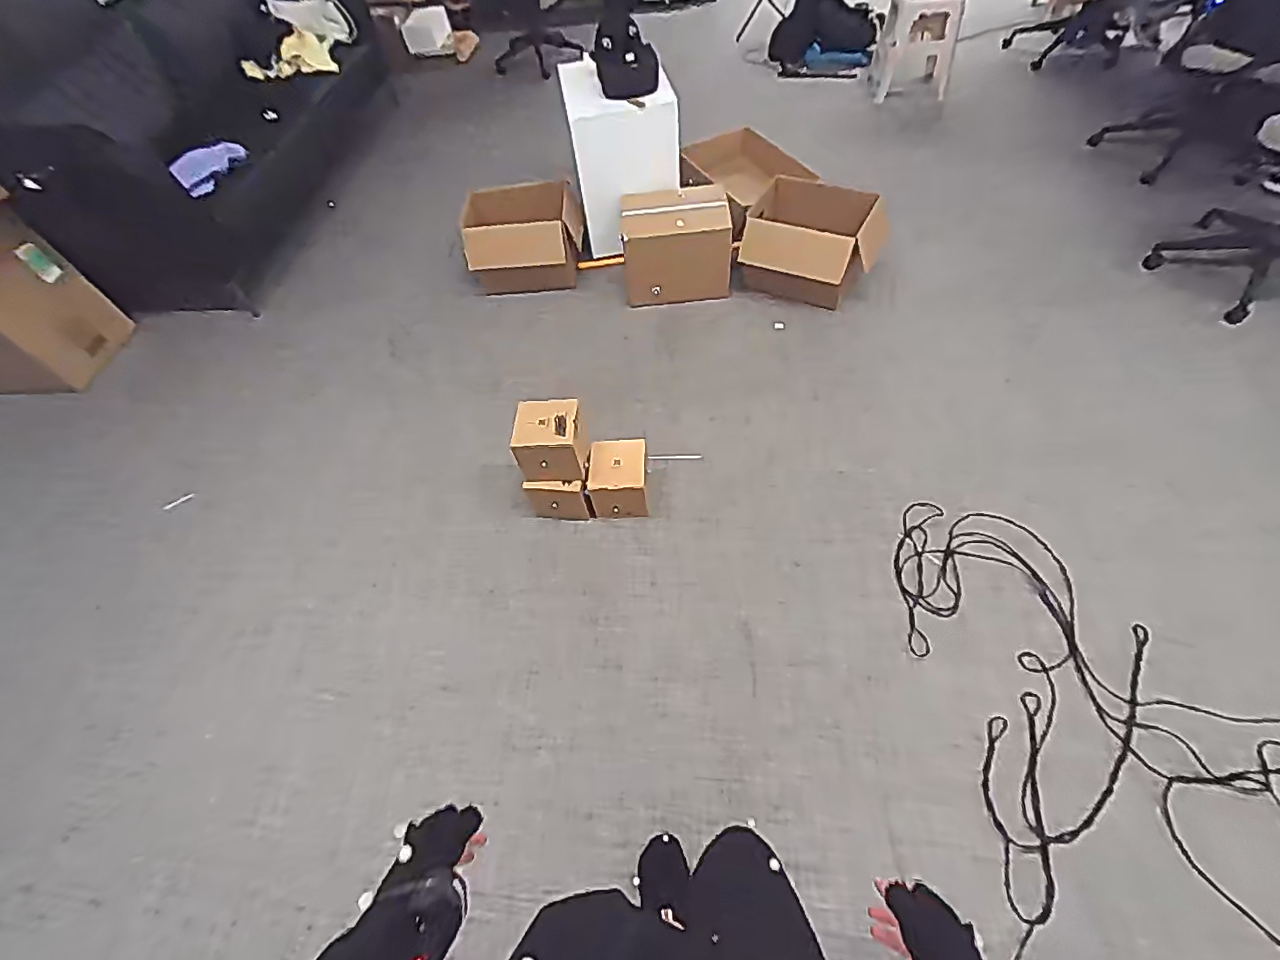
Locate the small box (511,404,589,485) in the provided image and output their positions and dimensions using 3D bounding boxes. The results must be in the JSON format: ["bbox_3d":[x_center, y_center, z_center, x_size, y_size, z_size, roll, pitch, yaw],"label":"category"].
[{"bbox_3d":[-0.248,-0.097,1.547,0.179,0.176,0.168,-2,55,7],"label":"small box"}]
